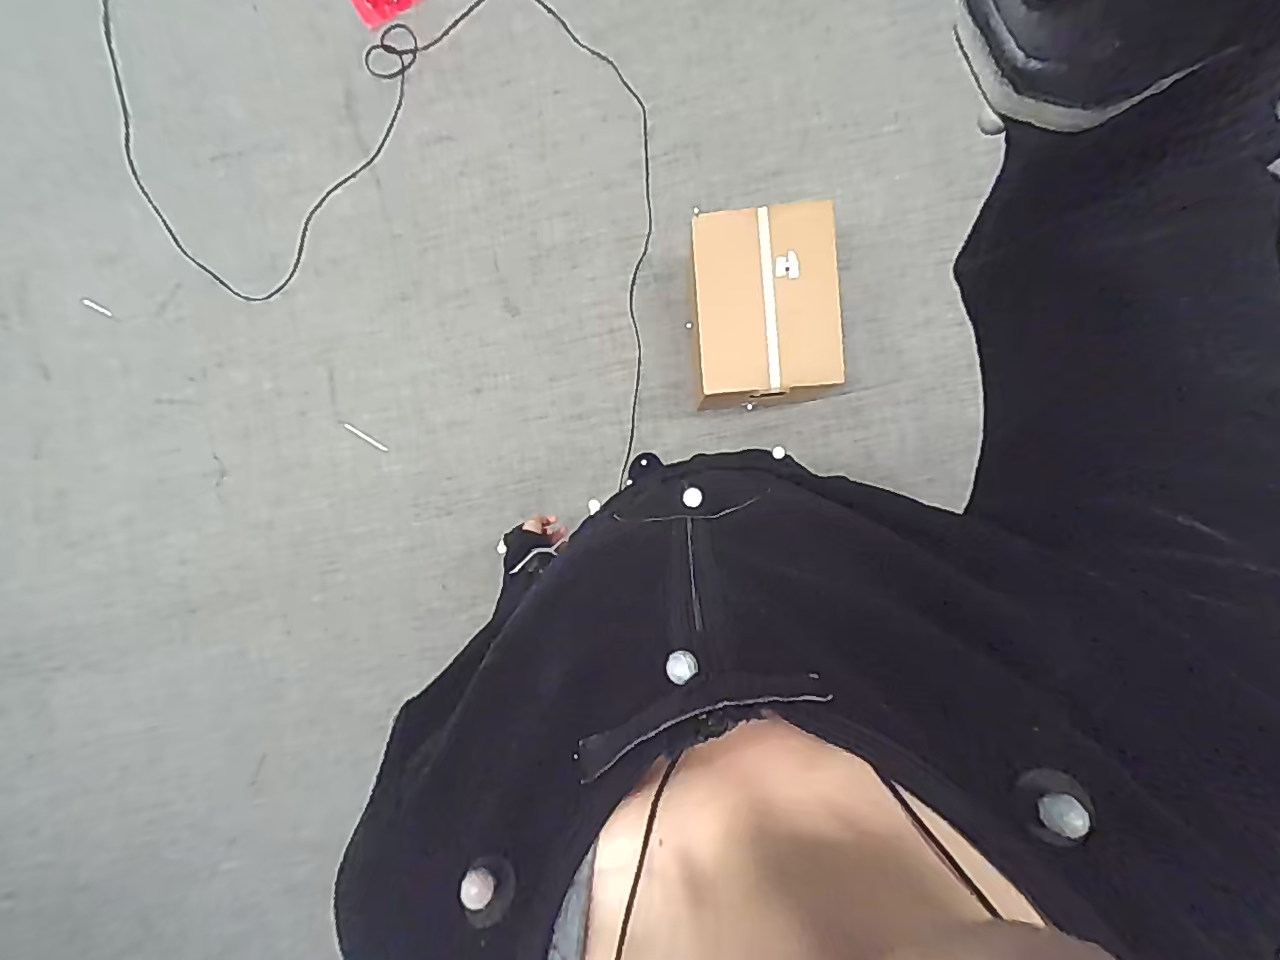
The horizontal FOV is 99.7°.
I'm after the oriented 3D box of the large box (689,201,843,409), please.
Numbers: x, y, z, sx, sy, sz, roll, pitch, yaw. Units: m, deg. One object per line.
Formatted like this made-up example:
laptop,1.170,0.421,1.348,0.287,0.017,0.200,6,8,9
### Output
large box,0.290,-0.405,1.344,0.320,0.320,0.408,-4,90,3
